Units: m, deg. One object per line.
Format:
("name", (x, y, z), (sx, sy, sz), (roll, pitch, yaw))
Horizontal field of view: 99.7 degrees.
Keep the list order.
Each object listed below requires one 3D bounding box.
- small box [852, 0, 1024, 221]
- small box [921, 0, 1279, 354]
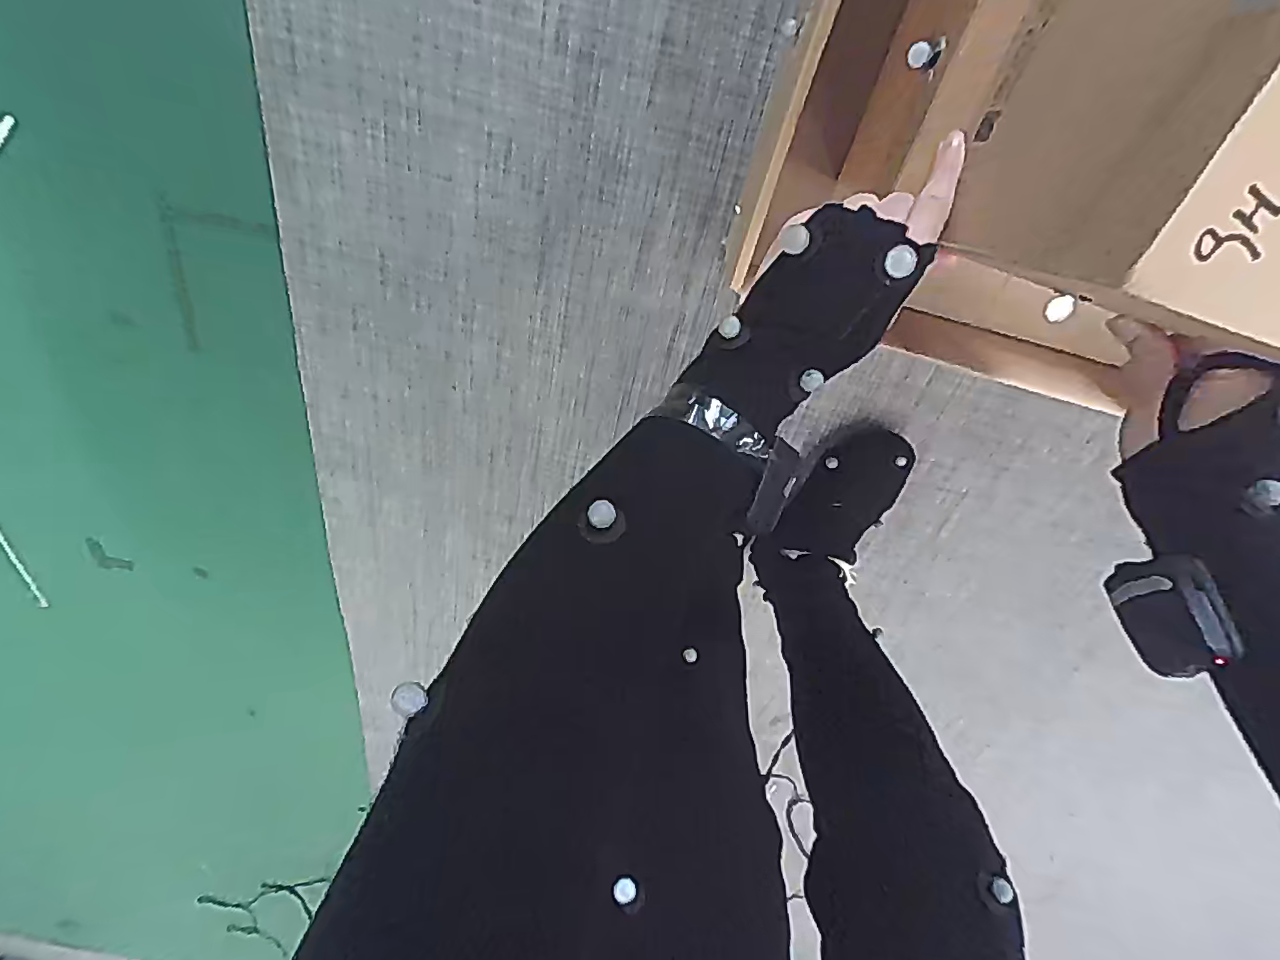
("small box", (0.286, -0.294, 0.421), (0.168, 0.176, 0.179), (15, 124, -3))
("small box", (0.275, -0.162, 0.240), (0.179, 0.176, 0.168), (14, 119, -10))
